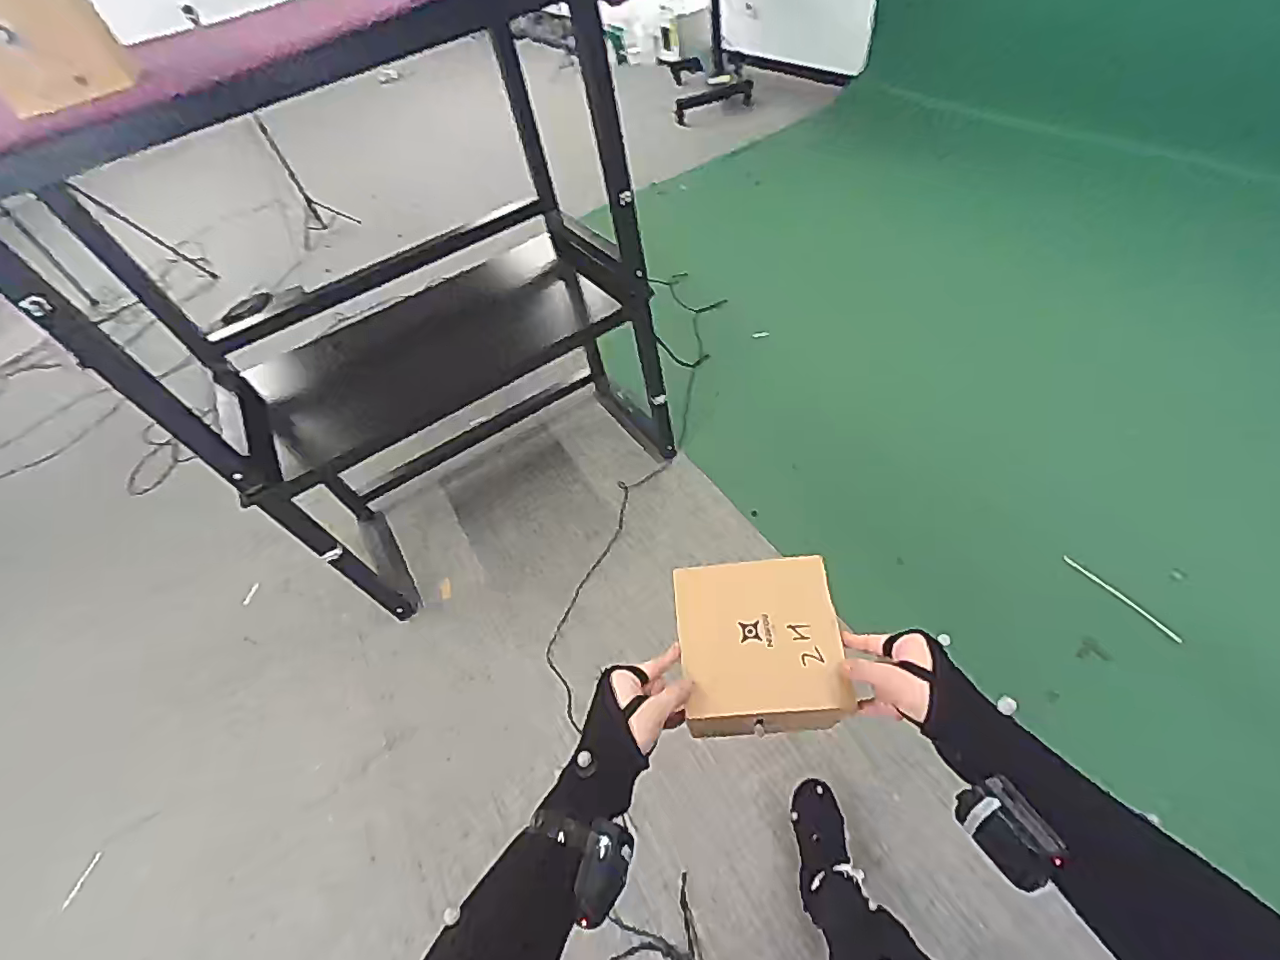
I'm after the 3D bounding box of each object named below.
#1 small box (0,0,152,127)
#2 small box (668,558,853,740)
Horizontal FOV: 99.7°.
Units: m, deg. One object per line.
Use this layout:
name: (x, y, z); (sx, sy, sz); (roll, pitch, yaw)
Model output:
small box: (-0.909, -0.673, 0.835); (0.168, 0.176, 0.179); (-31, 50, -13)
small box: (0.133, 0.209, 0.648); (0.179, 0.176, 0.168); (-6, 58, 4)
